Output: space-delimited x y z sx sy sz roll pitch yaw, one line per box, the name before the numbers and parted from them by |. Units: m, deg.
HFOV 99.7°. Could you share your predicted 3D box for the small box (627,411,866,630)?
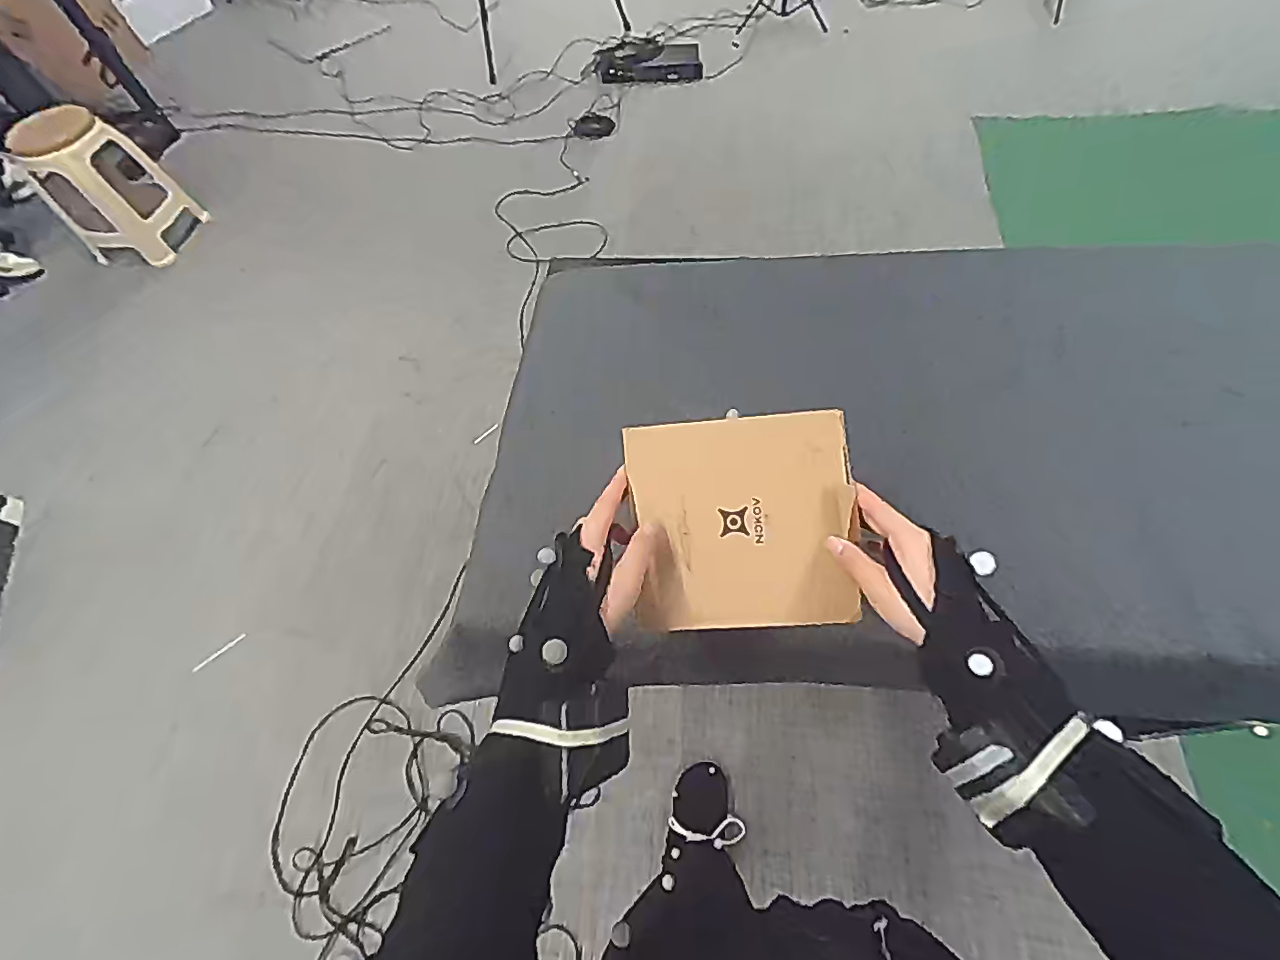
small box | 0.091 0.039 0.504 0.179 0.176 0.168 -5 83 8
